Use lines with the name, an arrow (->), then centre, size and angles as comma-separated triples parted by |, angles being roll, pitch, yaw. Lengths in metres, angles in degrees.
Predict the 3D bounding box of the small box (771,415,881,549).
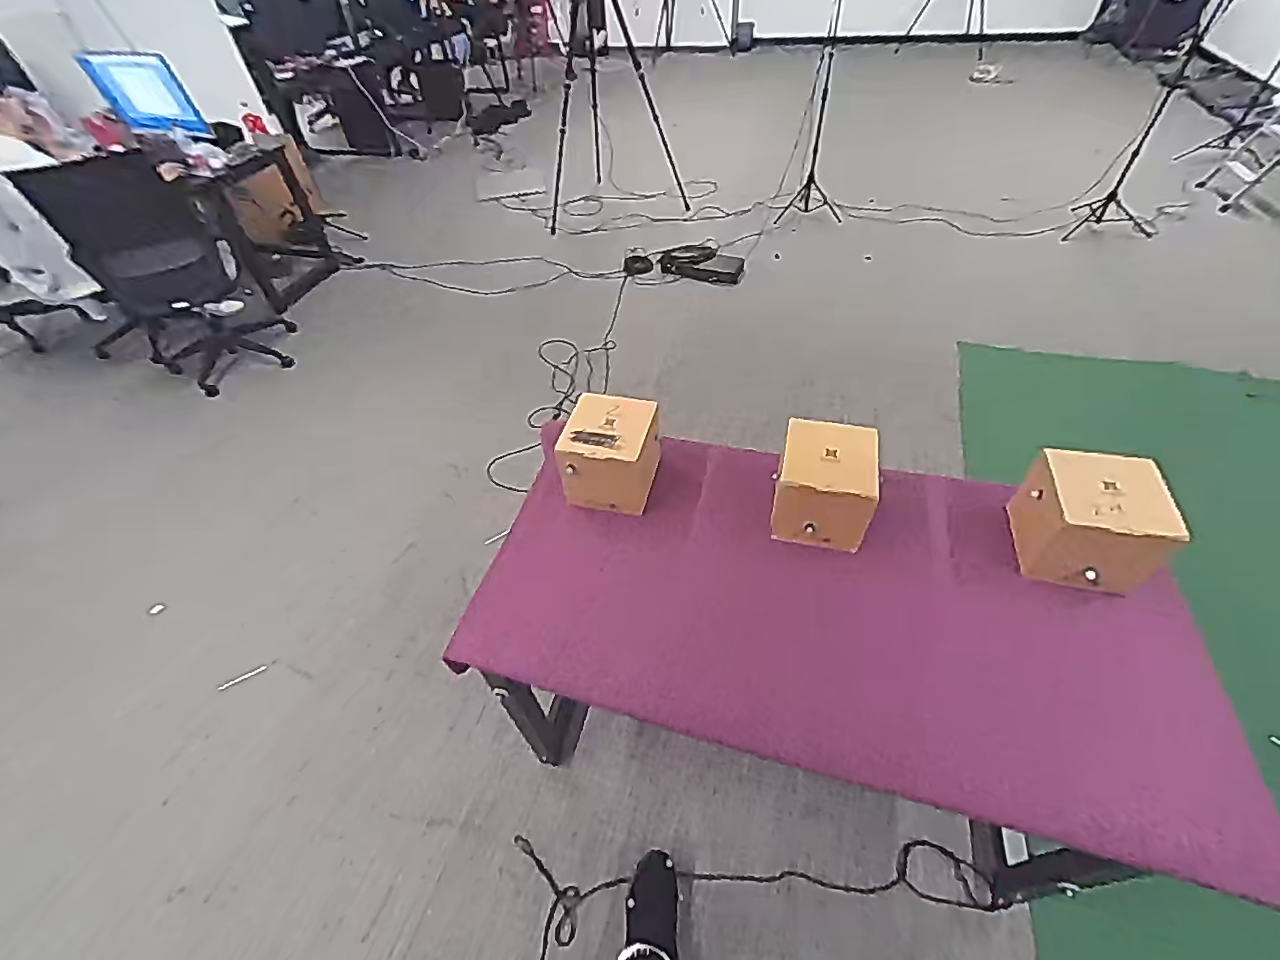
small box -> 0.352, 0.005, 1.038 | 0.168, 0.176, 0.179 | 10, 50, 12

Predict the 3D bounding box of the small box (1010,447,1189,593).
small box -> 0.779, 0.069, 0.944 | 0.168, 0.176, 0.179 | 8, 49, 15
